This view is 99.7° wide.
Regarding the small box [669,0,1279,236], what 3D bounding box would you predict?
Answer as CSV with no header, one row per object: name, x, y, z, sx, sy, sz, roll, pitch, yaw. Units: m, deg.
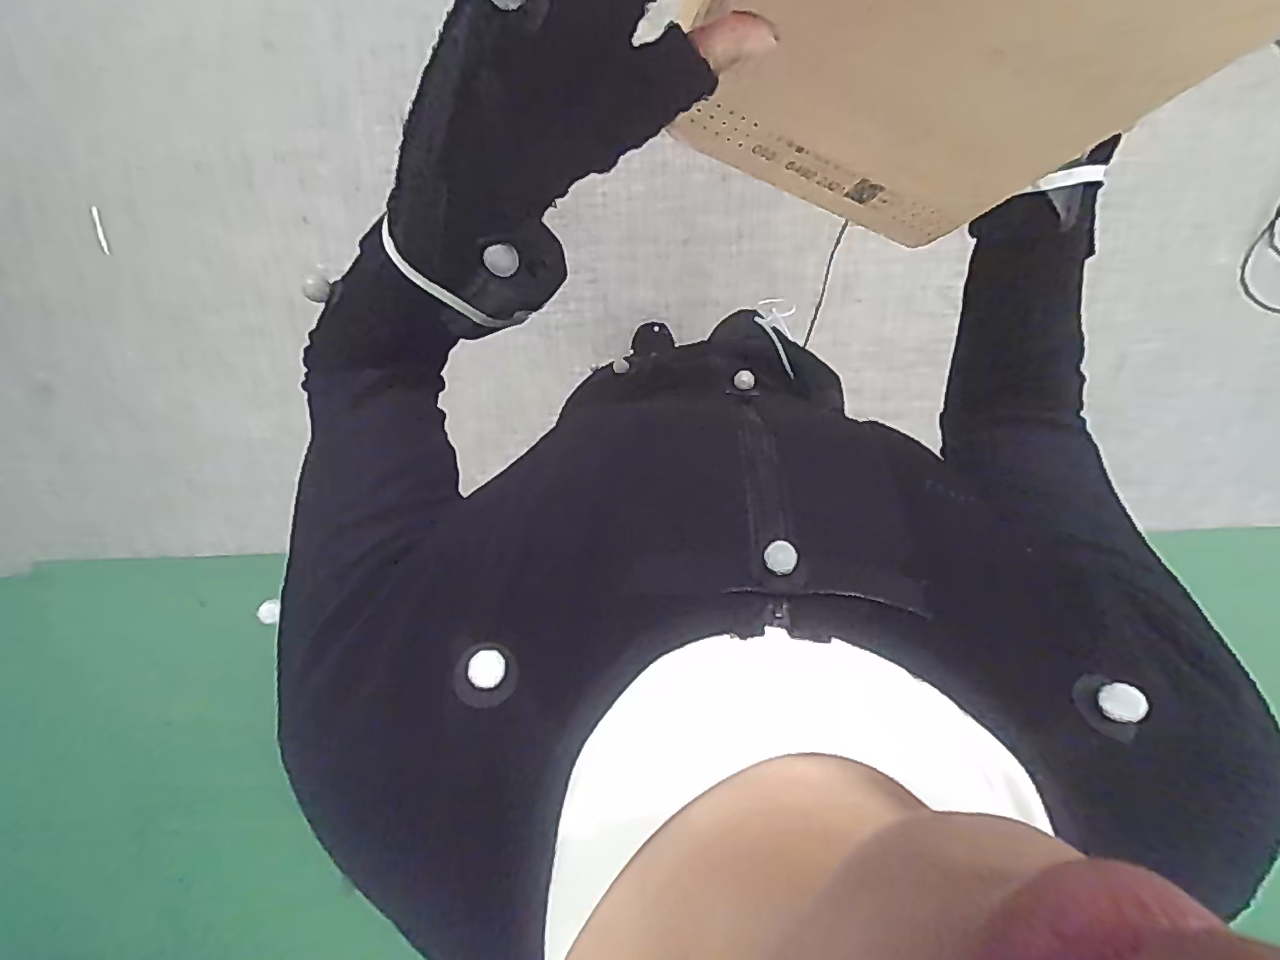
small box,0.126,-0.249,0.232,0.168,0.176,0.179,13,78,-19
